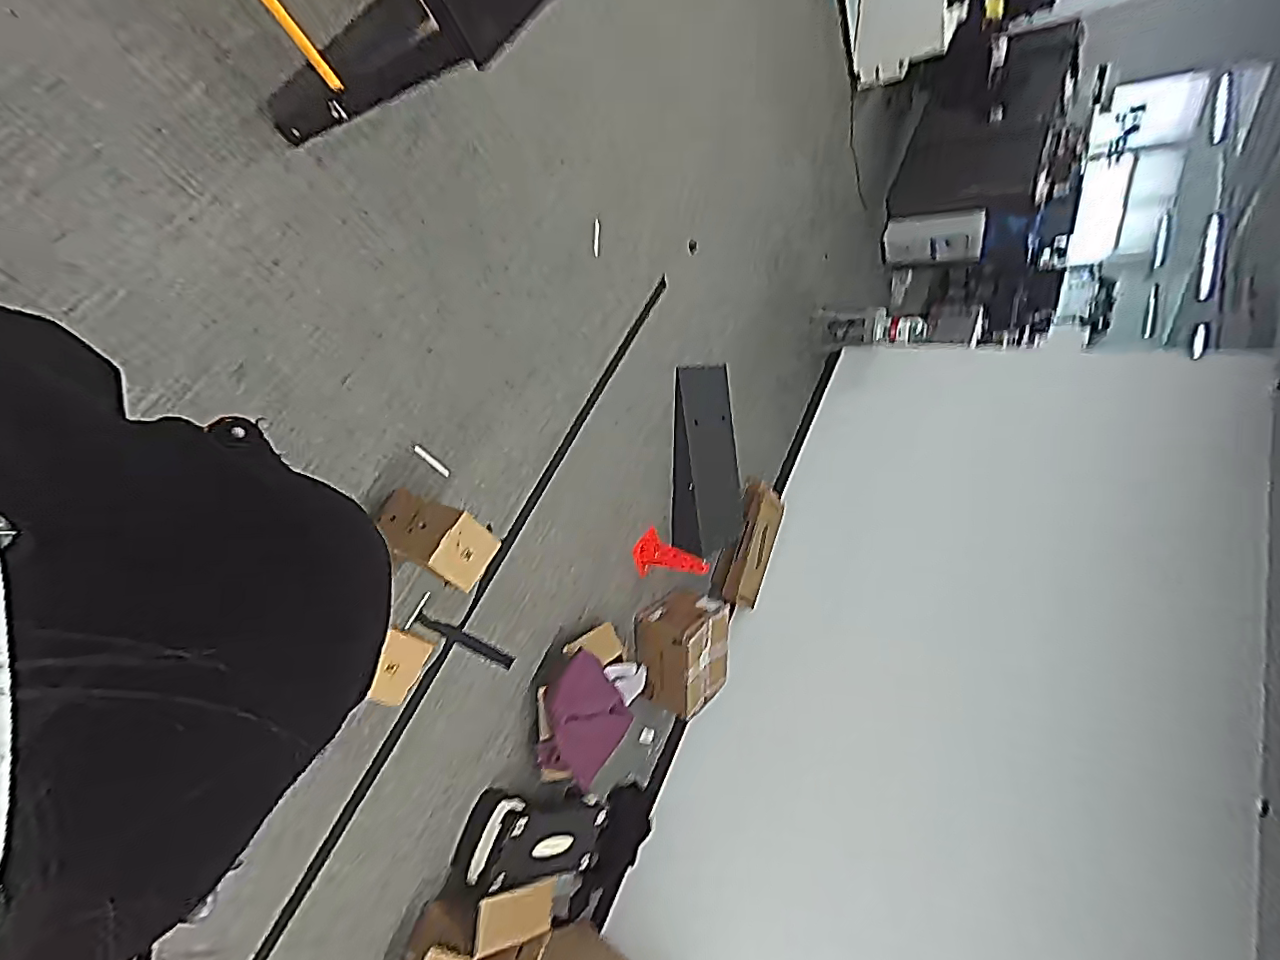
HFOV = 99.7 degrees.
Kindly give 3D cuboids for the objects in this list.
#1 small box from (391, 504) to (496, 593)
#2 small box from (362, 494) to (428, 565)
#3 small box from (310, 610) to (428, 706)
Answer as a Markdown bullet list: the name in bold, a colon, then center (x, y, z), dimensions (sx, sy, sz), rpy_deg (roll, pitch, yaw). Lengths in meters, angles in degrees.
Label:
- **small box**: center (-0.547, 0.185, 1.506), dimensions (0.168, 0.176, 0.179), rpy_deg (-59, 140, -25)
- **small box**: center (-0.680, 0.154, 1.601), dimensions (0.179, 0.176, 0.168), rpy_deg (51, 59, -47)
- **small box**: center (-0.696, 0.454, 1.391), dimensions (0.179, 0.176, 0.168), rpy_deg (49, 60, -47)
